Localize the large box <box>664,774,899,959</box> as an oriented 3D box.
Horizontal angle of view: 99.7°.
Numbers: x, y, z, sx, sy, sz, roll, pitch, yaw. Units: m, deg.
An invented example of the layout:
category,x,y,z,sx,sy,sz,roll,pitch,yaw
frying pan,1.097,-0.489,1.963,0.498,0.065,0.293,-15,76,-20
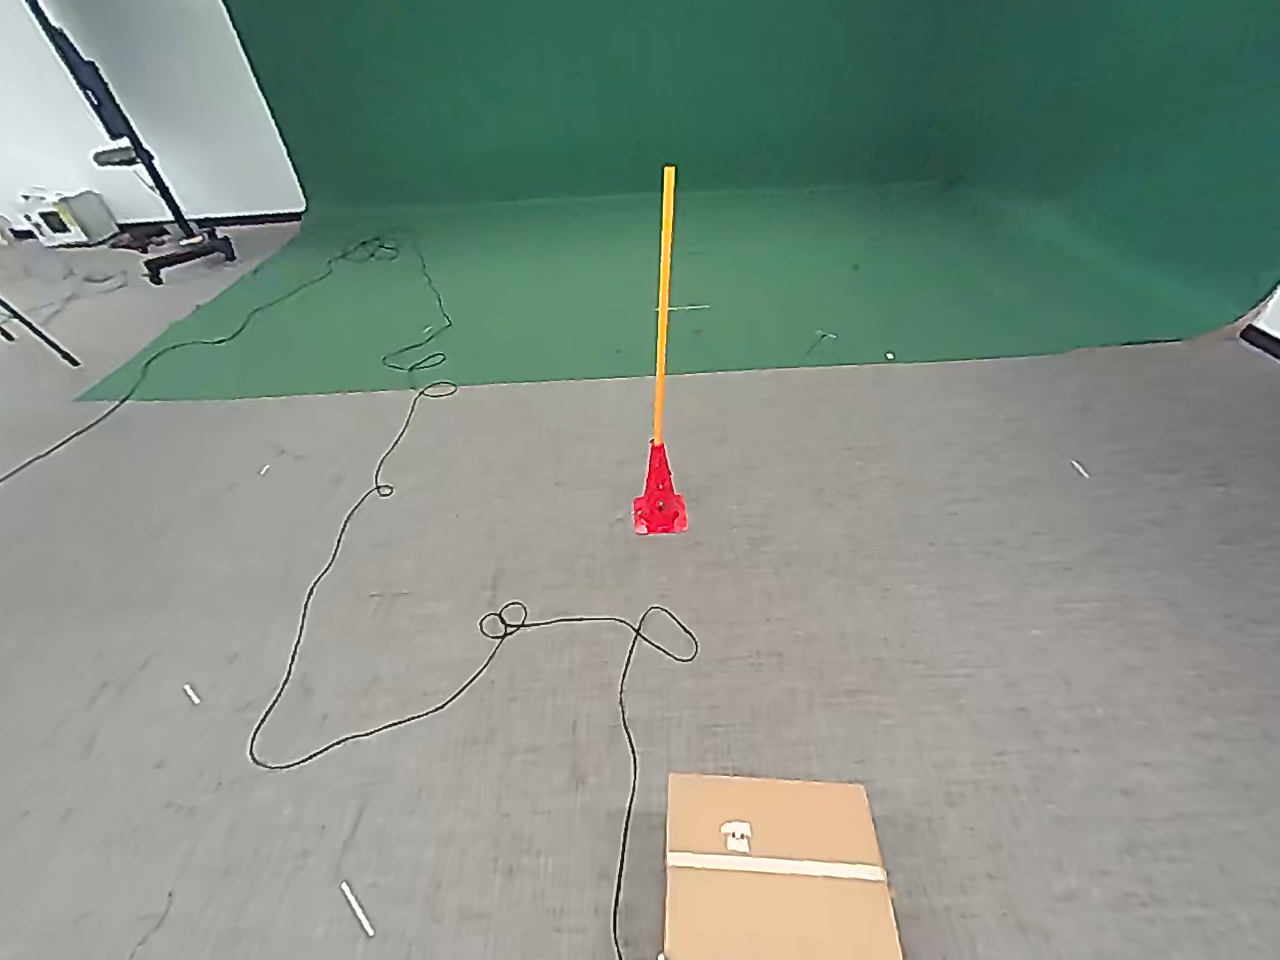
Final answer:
category,x,y,z,sx,sy,sz,roll,pitch,yaw
large box,0.258,0.837,1.120,0.408,0.320,0.320,1,42,5
